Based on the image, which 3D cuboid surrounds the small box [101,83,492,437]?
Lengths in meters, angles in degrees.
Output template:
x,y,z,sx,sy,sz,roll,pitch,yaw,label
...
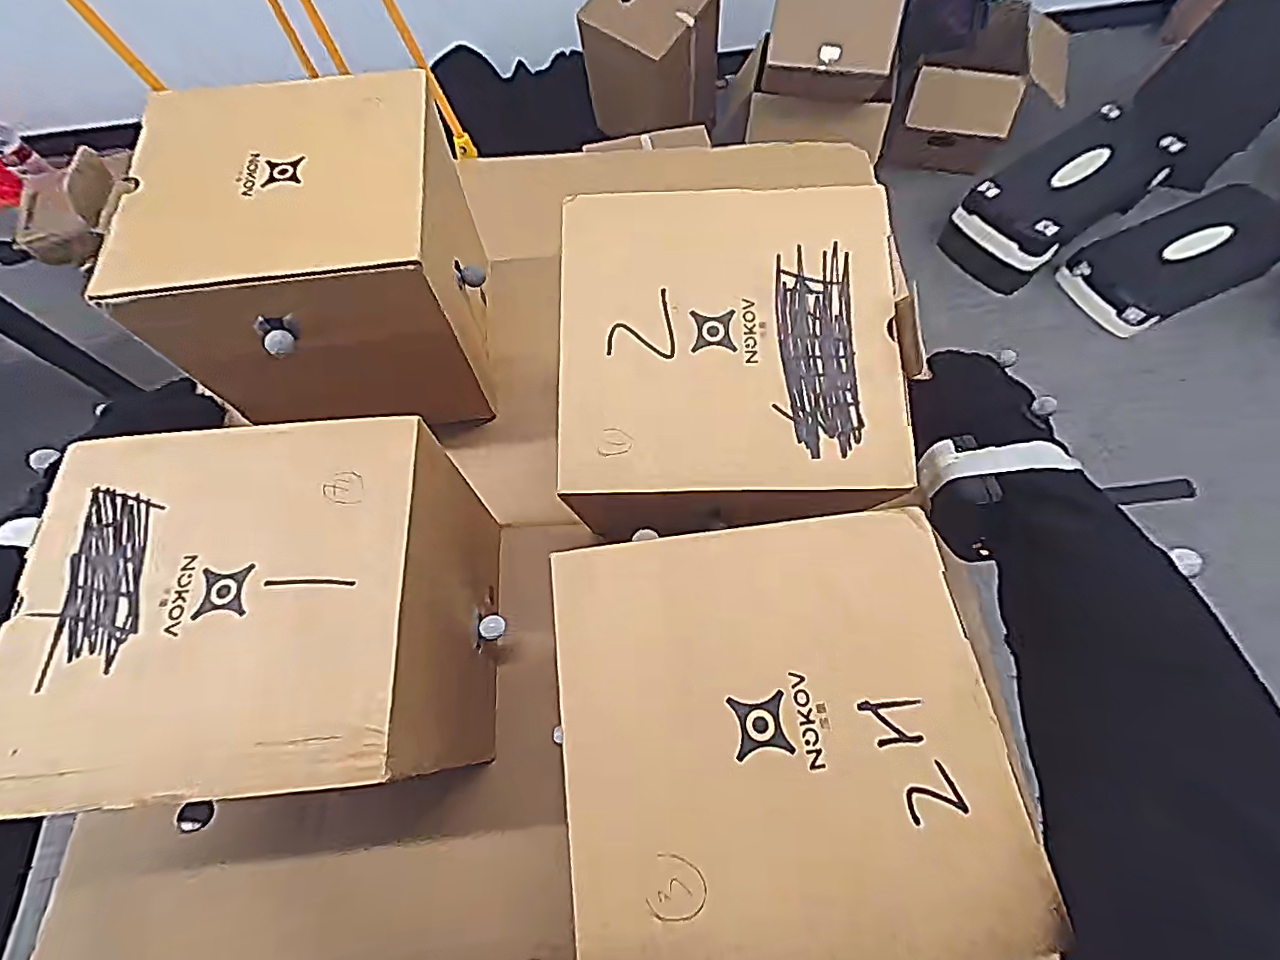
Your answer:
x,y,z,sx,sy,sz,roll,pitch,yaw,label
-0.213,-0.146,0.397,0.179,0.176,0.168,-7,67,-2,small box
